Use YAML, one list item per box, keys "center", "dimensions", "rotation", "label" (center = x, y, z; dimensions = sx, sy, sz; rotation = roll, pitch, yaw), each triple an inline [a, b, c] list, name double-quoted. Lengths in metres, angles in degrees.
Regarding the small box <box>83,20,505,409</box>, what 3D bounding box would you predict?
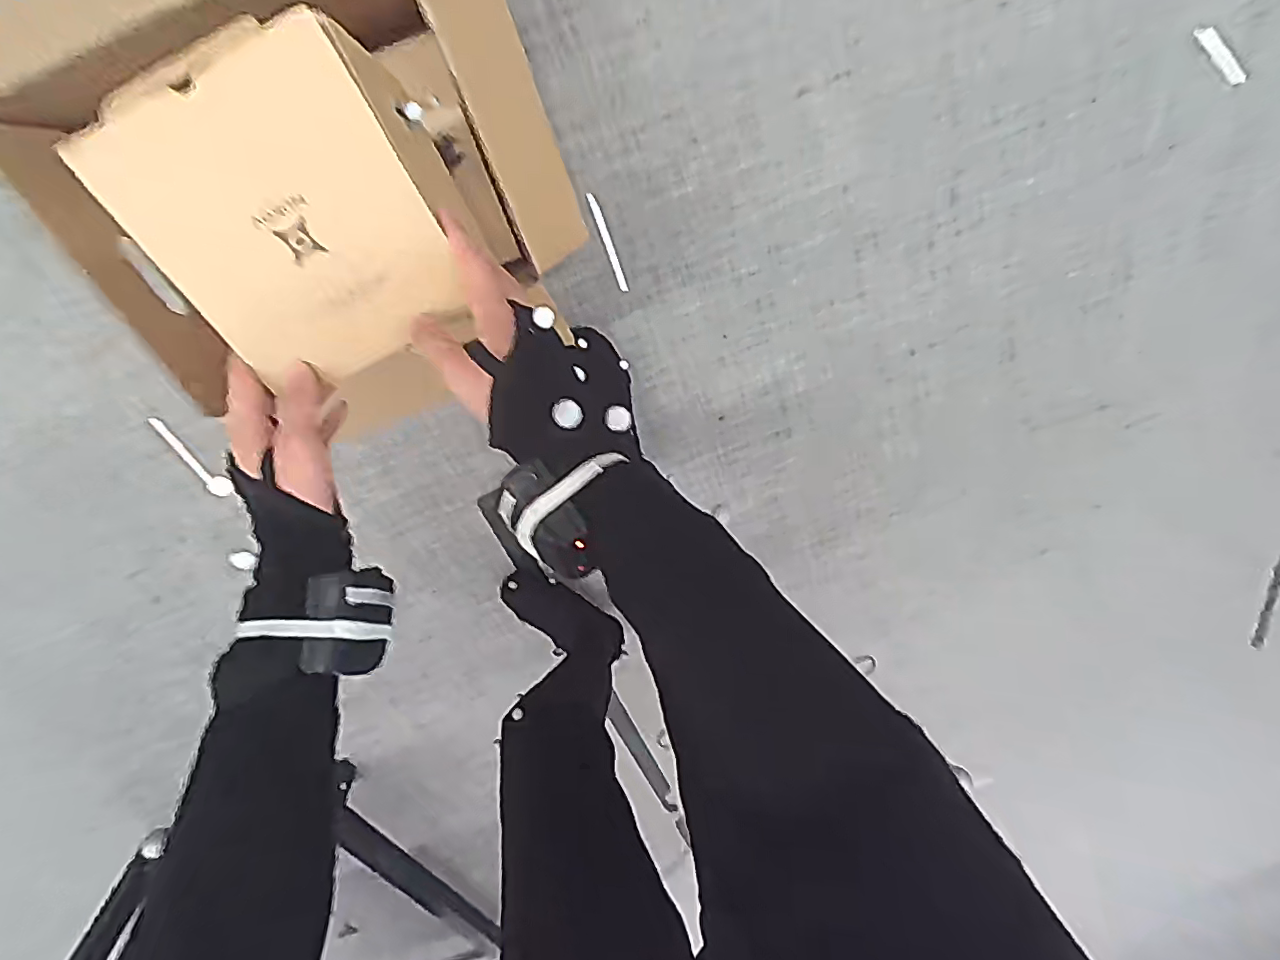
- center: [-0.220, -0.184, 0.408]
  dimensions: [0.168, 0.176, 0.179]
  rotation: [-25, 117, 4]
  label: "small box"
